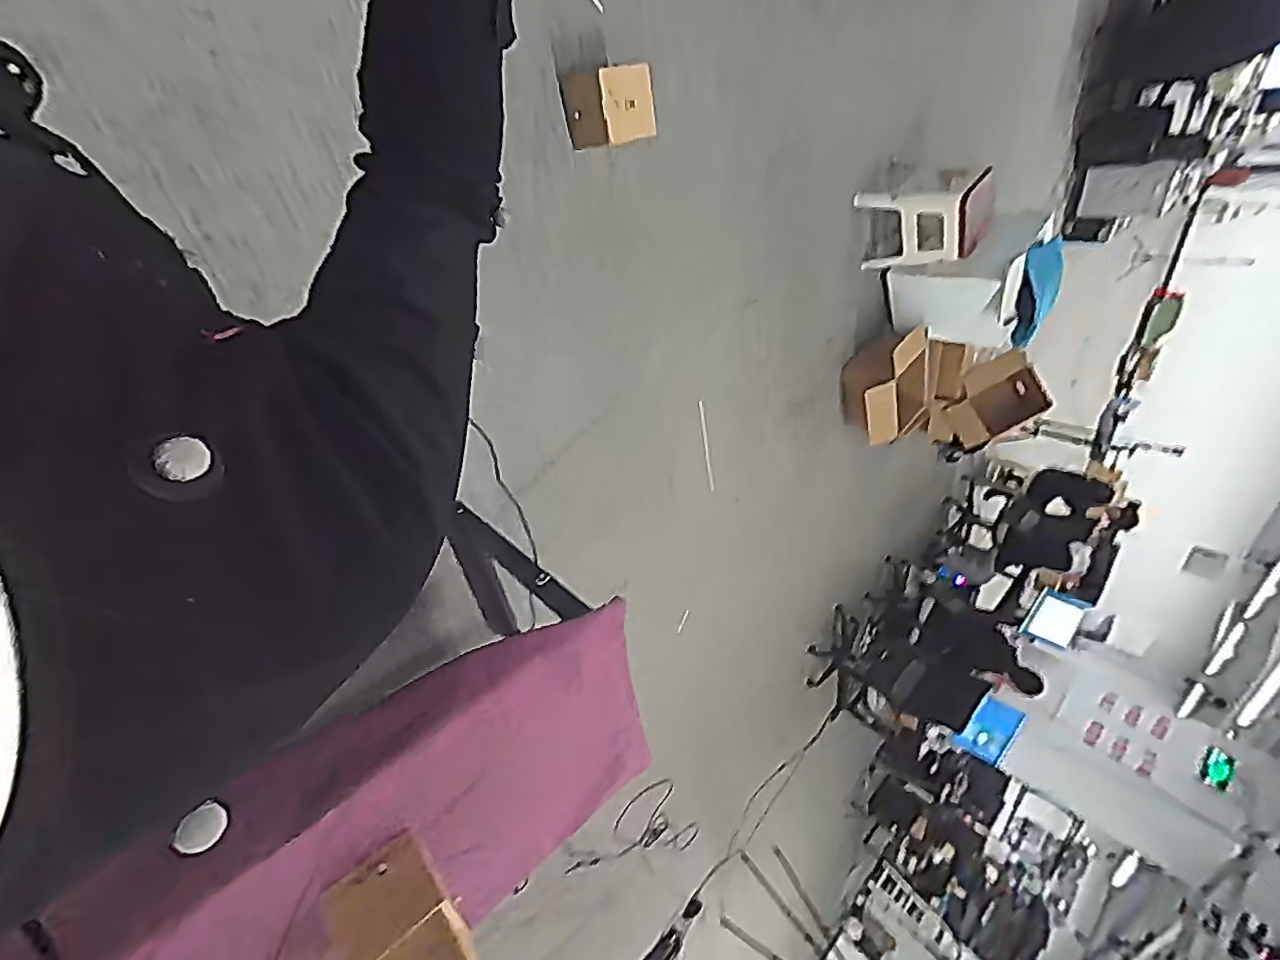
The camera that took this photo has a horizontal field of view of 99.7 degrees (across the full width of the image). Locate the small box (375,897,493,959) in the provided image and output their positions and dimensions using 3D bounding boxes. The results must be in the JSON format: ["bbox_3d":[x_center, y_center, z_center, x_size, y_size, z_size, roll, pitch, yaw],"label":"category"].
[{"bbox_3d":[-0.318,0.822,0.855,0.179,0.176,0.168,-30,128,-31],"label":"small box"}]

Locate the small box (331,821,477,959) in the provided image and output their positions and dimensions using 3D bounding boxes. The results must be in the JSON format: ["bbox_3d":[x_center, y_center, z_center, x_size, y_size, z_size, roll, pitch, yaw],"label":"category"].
[{"bbox_3d":[-0.420,0.763,0.966,0.168,0.176,0.179,-29,127,-33],"label":"small box"}]

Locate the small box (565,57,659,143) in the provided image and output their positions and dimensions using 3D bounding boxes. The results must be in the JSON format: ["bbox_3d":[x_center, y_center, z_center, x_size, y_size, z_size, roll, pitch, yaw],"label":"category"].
[{"bbox_3d":[-0.076,-1.036,1.478,0.179,0.176,0.168,-32,129,-28],"label":"small box"}]
